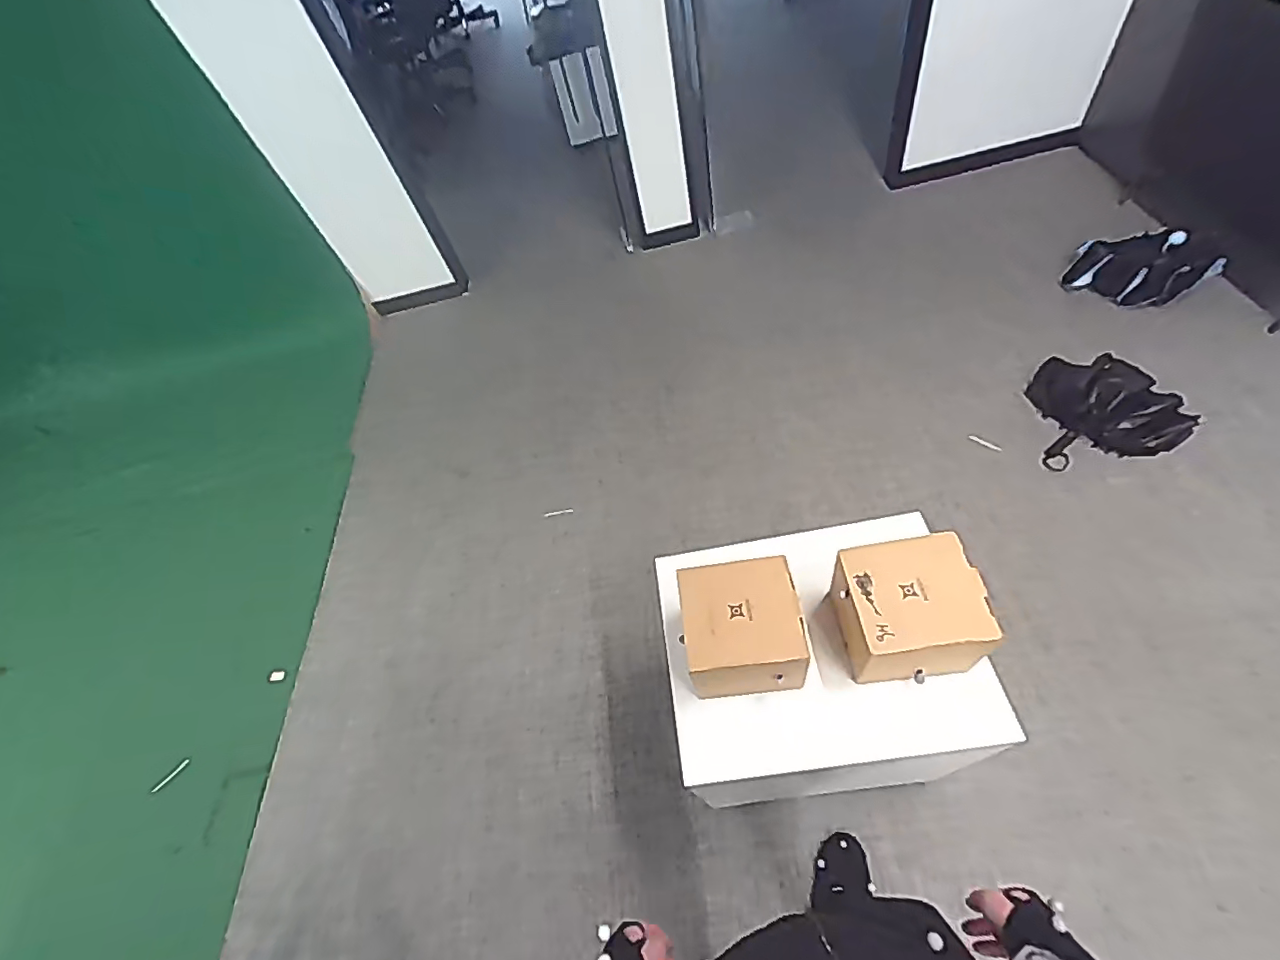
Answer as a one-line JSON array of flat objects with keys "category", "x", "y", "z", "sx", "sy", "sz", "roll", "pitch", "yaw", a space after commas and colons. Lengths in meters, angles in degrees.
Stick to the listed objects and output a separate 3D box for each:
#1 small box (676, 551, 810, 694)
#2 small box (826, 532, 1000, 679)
[{"category": "small box", "x": 0.159, "y": 0.233, "z": 0.867, "sx": 0.179, "sy": 0.176, "sz": 0.168, "roll": -9, "pitch": 54, "yaw": 6}, {"category": "small box", "x": 0.404, "y": 0.199, "z": 0.837, "sx": 0.179, "sy": 0.176, "sz": 0.168, "roll": -8, "pitch": 55, "yaw": 6}]
